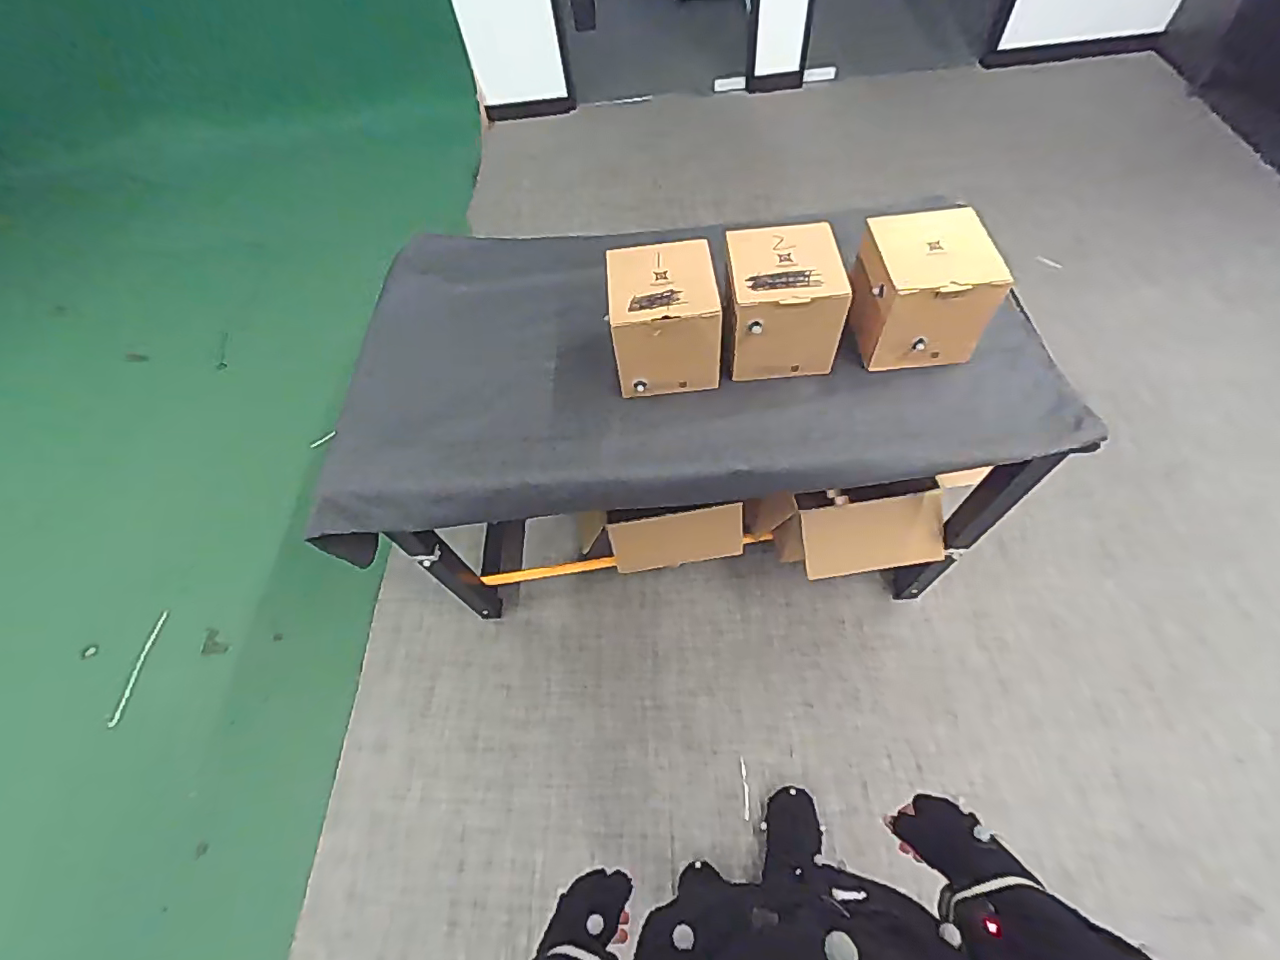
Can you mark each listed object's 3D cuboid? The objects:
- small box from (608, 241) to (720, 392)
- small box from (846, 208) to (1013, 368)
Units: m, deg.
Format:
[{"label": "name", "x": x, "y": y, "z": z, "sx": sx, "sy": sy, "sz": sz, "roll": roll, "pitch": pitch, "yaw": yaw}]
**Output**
[{"label": "small box", "x": 0.041, "y": -0.261, "z": 0.897, "sx": 0.168, "sy": 0.176, "sz": 0.179, "roll": -6, "pitch": 58, "yaw": 2}, {"label": "small box", "x": 0.450, "y": -0.307, "z": 0.879, "sx": 0.168, "sy": 0.176, "sz": 0.179, "roll": -5, "pitch": 59, "yaw": 3}]
